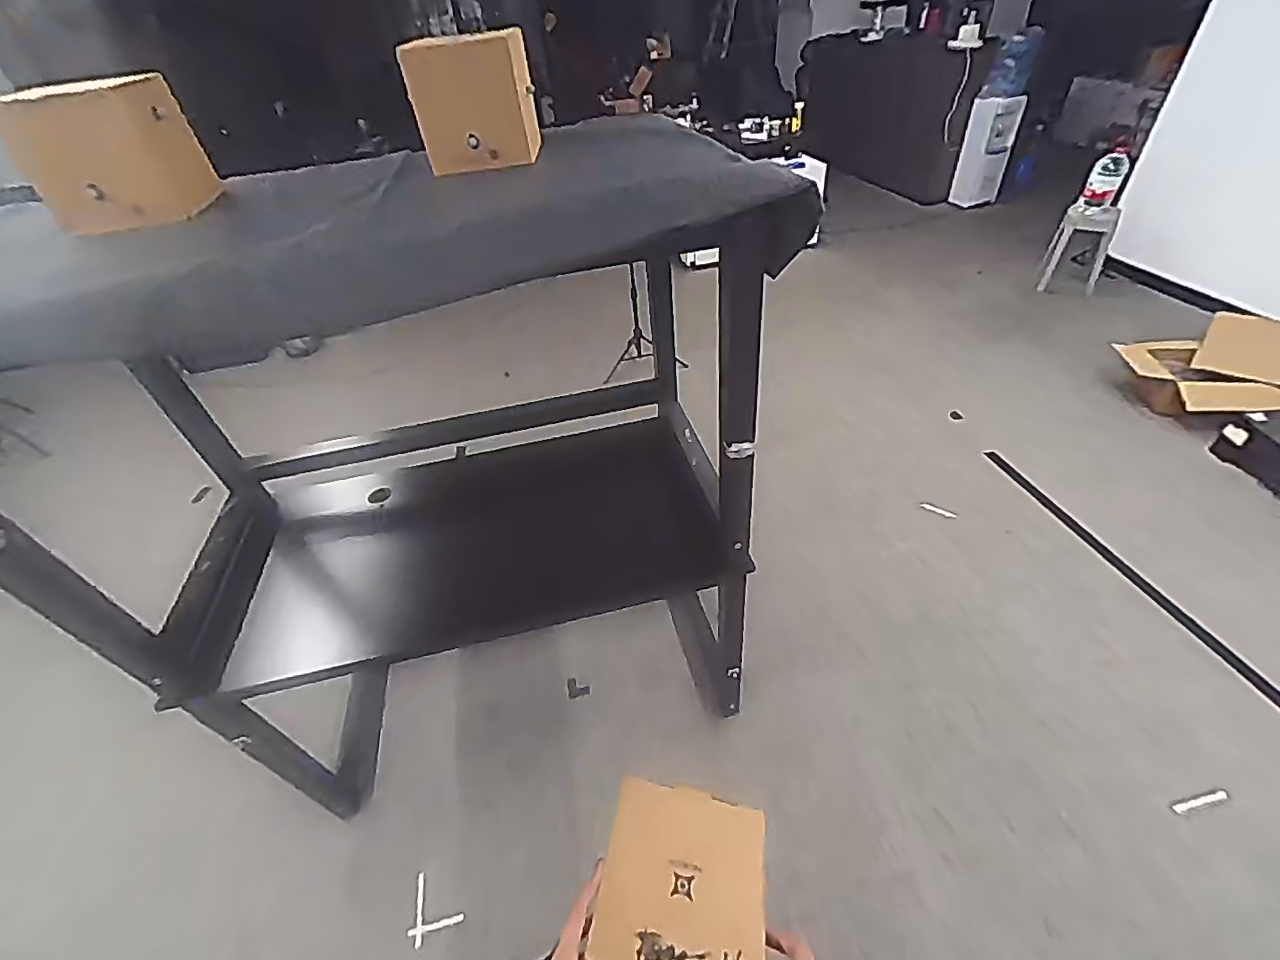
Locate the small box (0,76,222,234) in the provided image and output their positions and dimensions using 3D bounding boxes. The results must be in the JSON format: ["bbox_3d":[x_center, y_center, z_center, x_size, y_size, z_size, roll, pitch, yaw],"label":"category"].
[{"bbox_3d":[-0.779,-0.489,0.814,0.168,0.176,0.179,-13,43,-7],"label":"small box"}]

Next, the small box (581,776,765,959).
[{"bbox_3d":[0.034,0.470,0.587,0.168,0.176,0.179,12,31,7],"label":"small box"}]
